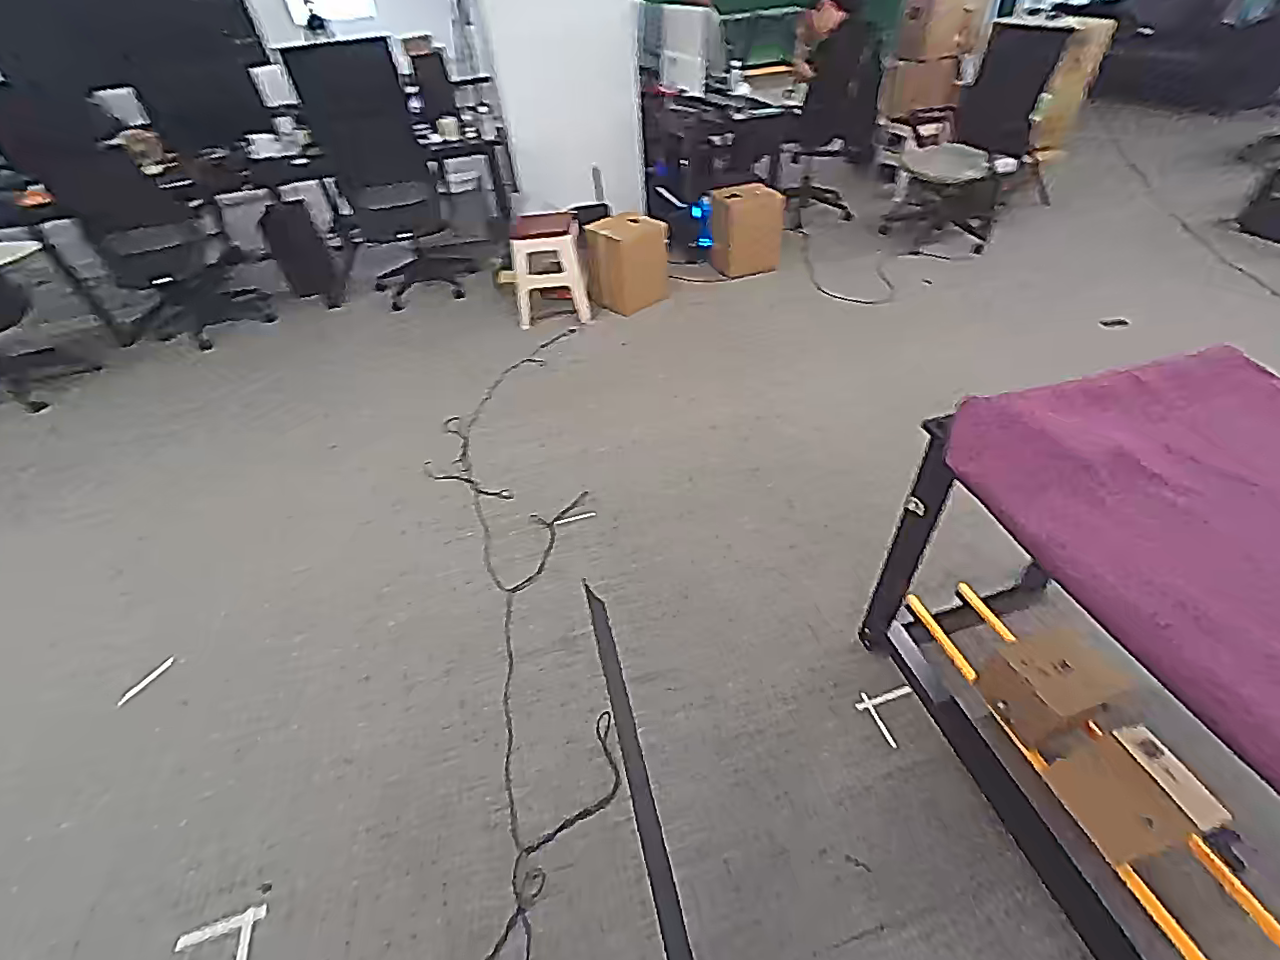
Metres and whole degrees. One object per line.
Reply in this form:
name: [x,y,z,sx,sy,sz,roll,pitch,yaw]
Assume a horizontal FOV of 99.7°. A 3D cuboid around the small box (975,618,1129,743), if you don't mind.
small box: [0.869,0.432,1.164,0.179,0.176,0.168,-18,44,-9]
